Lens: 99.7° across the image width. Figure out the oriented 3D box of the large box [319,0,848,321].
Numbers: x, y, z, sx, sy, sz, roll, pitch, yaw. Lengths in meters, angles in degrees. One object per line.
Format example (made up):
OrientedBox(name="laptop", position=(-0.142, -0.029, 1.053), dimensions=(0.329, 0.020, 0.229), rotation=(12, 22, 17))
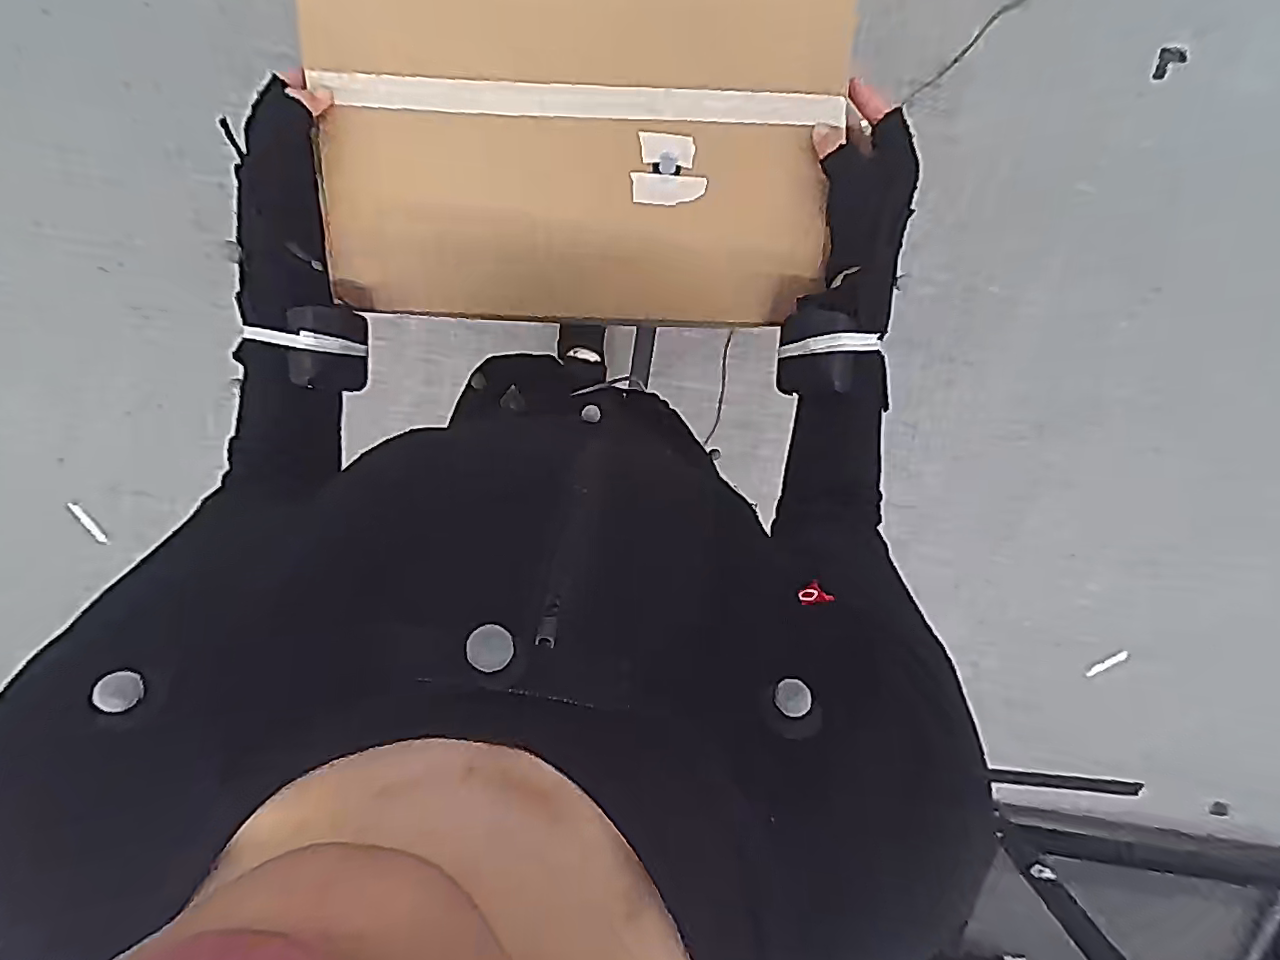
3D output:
OrientedBox(name="large box", position=(-0.049, -0.332, 0.566), dimensions=(0.408, 0.320, 0.320), rotation=(1, 106, -3))
